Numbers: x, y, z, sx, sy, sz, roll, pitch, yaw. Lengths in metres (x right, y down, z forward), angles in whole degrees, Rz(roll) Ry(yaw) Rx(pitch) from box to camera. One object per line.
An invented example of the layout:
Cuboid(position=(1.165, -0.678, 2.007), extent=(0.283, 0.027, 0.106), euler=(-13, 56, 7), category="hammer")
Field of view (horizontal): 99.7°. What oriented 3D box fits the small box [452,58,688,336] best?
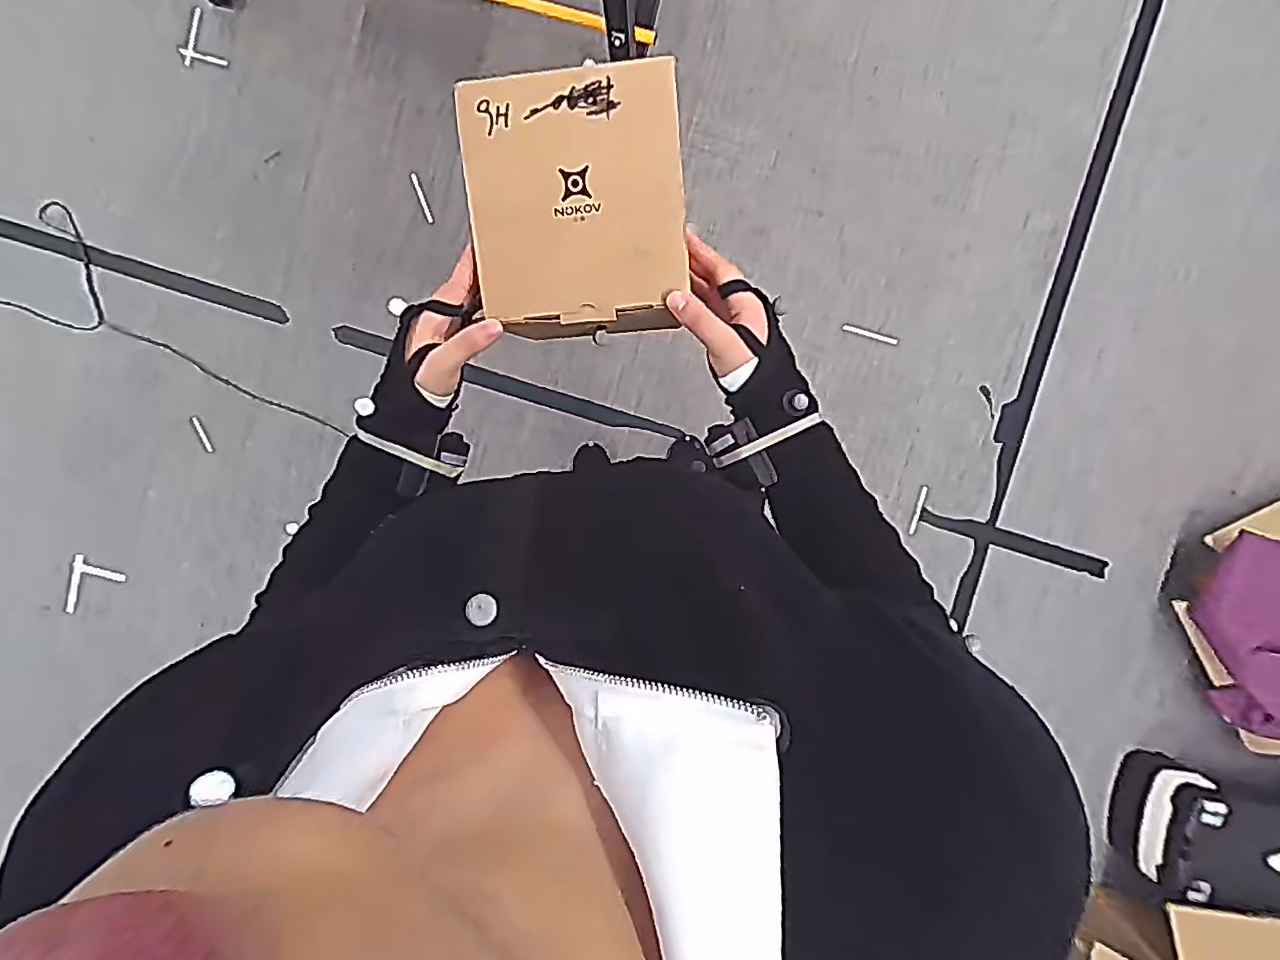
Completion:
Cuboid(position=(-0.045, -0.225, 0.482), extent=(0.168, 0.176, 0.179), euler=(-5, 101, 3), category="small box")
